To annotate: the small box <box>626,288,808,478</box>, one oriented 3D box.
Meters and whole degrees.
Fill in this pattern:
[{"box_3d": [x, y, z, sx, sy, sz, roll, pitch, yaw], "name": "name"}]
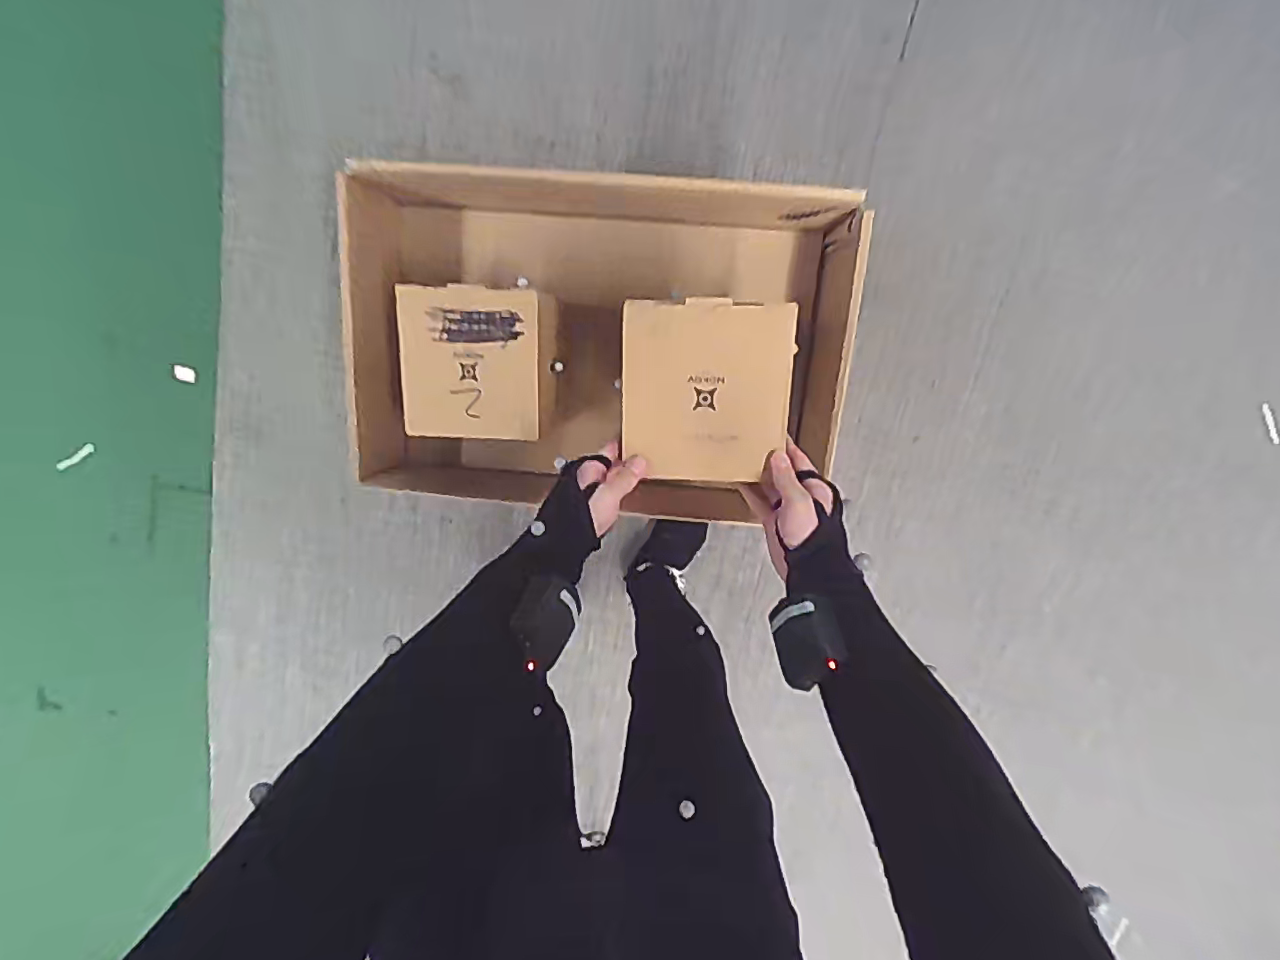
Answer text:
[{"box_3d": [0.078, -0.112, 0.599, 0.168, 0.176, 0.179, 4, 106, 6], "name": "small box"}]
